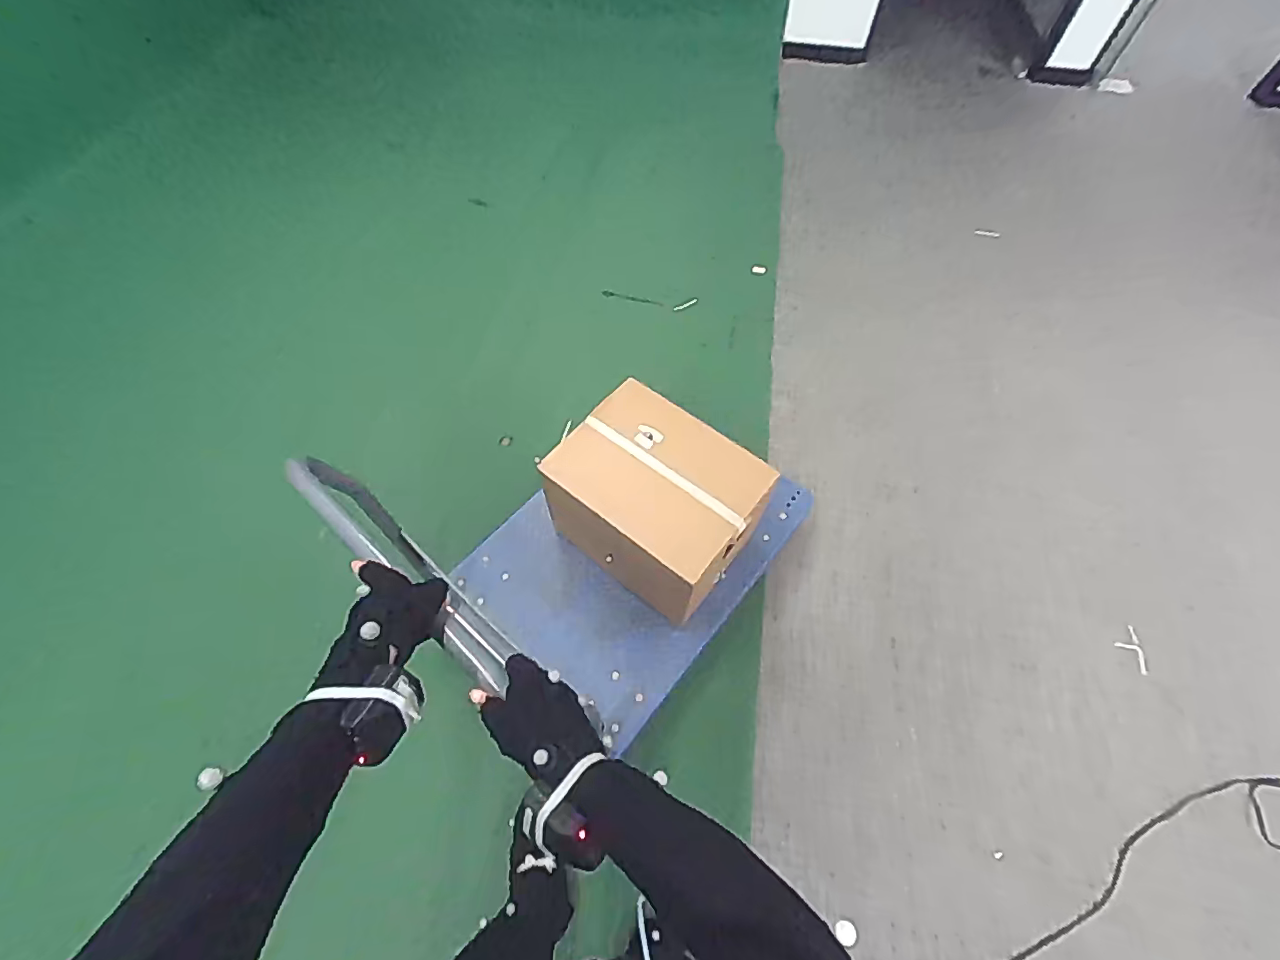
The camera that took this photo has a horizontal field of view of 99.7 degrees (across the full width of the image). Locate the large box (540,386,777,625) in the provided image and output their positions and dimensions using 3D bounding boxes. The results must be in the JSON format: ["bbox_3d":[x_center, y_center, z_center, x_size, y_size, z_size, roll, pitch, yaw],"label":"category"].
[{"bbox_3d":[0.040,0.065,1.247,0.408,0.320,0.320,35,65,18],"label":"large box"}]
